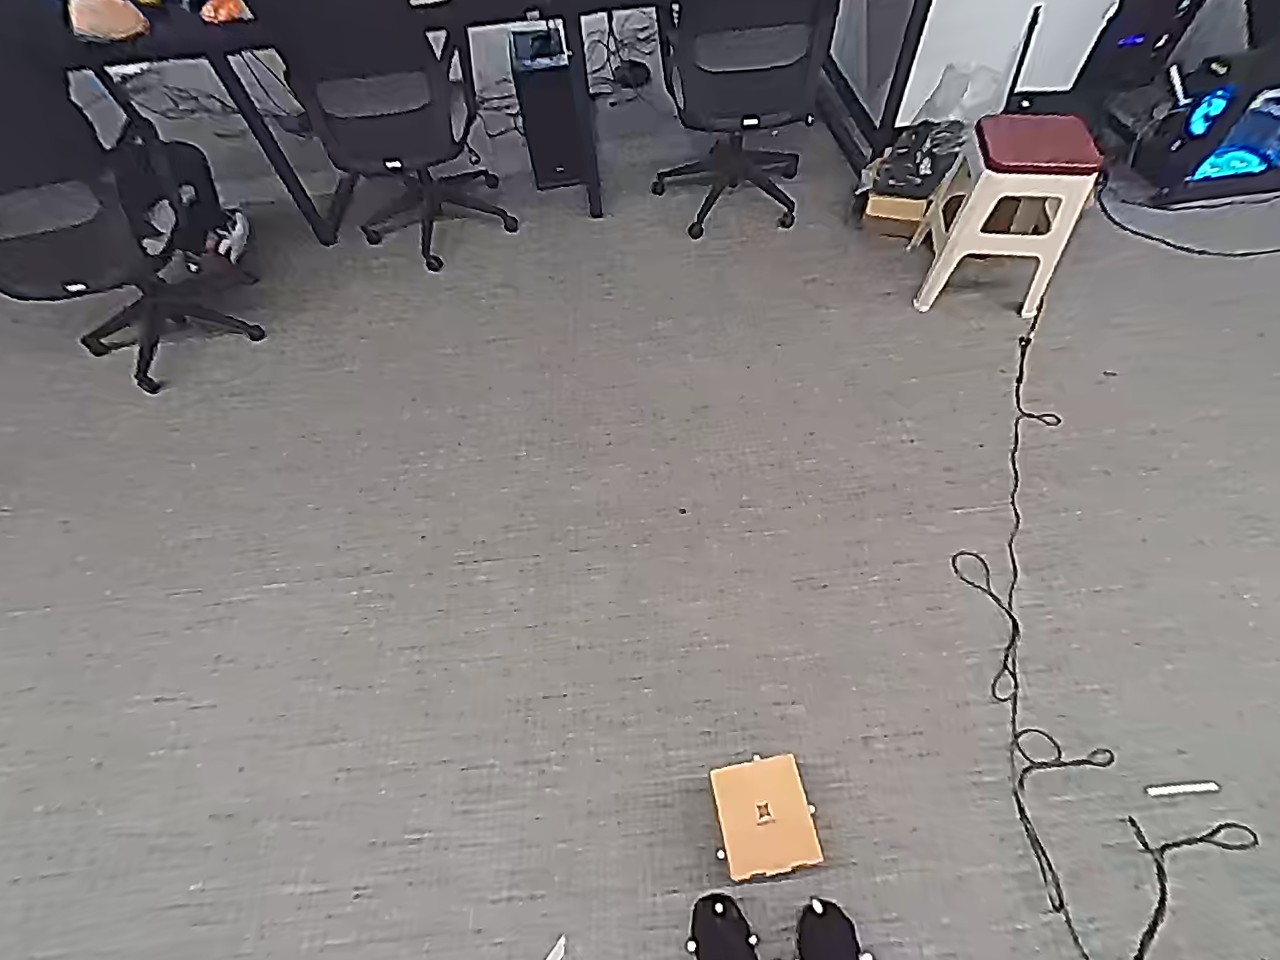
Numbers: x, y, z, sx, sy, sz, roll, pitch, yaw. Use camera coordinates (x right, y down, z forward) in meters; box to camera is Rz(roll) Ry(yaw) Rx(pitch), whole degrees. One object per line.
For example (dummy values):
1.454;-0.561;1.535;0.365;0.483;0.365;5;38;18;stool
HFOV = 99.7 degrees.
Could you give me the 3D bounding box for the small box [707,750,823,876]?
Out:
0.230;0.644;1.049;0.168;0.176;0.179;-11;58;-2;small box
